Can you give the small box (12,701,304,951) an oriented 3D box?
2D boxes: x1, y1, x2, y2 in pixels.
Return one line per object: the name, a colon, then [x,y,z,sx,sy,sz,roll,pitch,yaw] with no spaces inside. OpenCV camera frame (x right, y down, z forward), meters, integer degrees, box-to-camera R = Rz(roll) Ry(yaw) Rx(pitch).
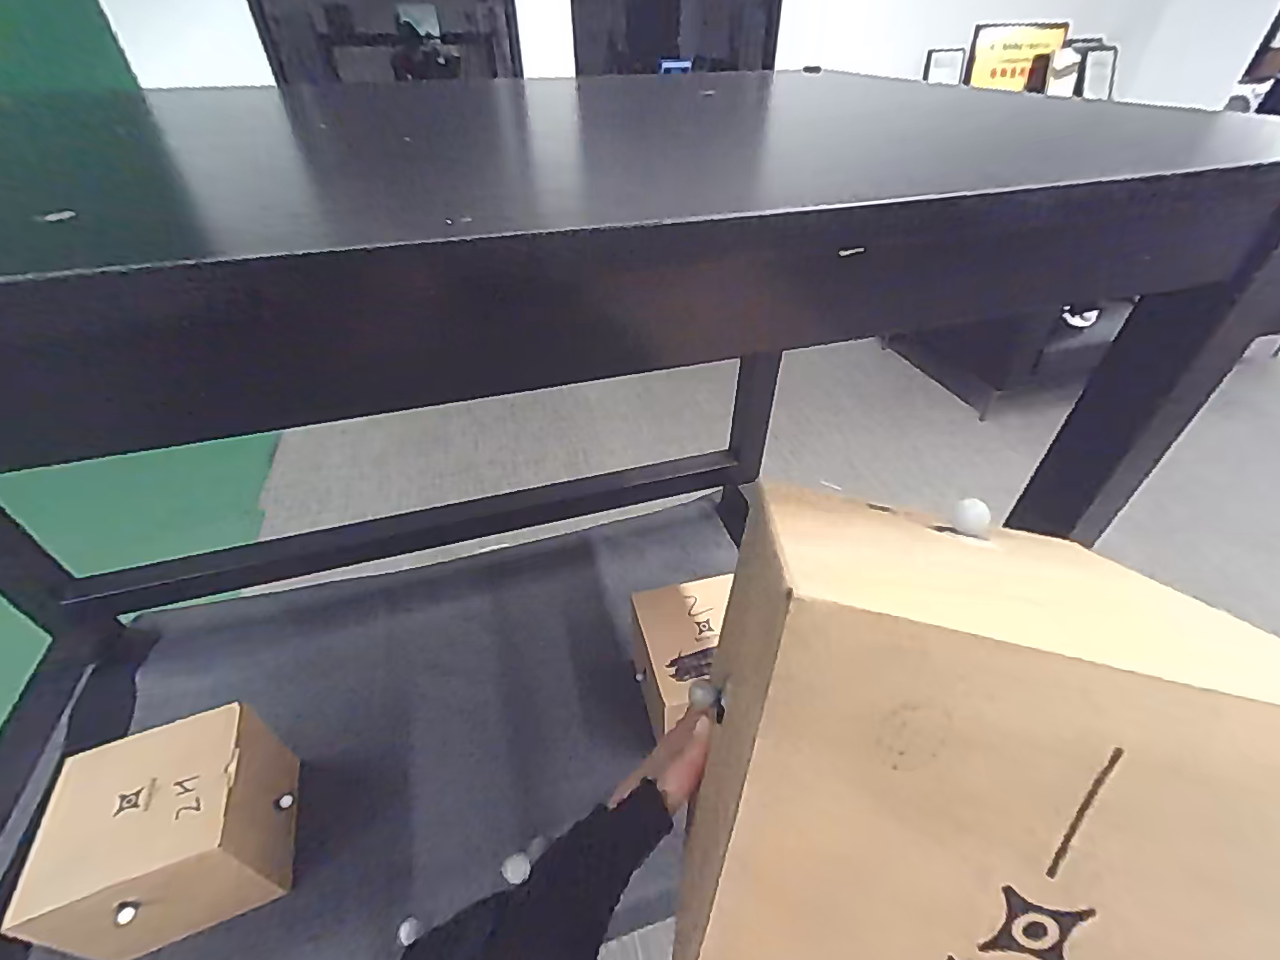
small box: [-0.523,0.397,0.625,0.179,0.176,0.168,-14,42,-17]
